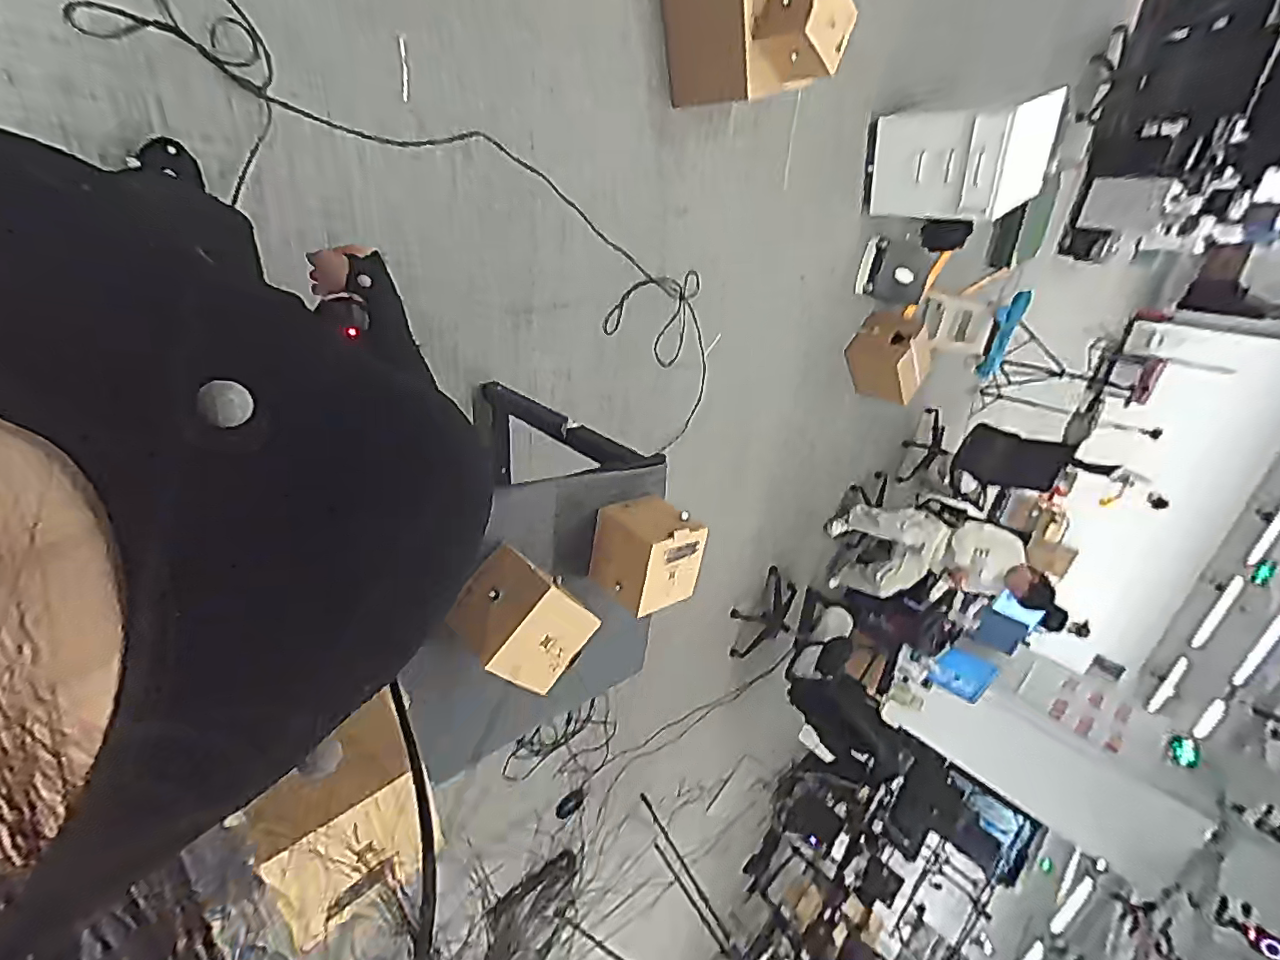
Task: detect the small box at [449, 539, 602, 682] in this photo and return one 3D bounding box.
[{"bbox_3d":[-0.208,0.229,0.979,0.168,0.176,0.179,-51,139,-11],"label":"small box"}]

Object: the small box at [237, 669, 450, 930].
[{"bbox_3d":[-0.353,0.370,0.655,0.168,0.176,0.179,-23,128,-37],"label":"small box"}]

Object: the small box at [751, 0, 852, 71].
[{"bbox_3d":[0.429,-1.240,1.451,0.179,0.176,0.168,11,104,-46],"label":"small box"}]
